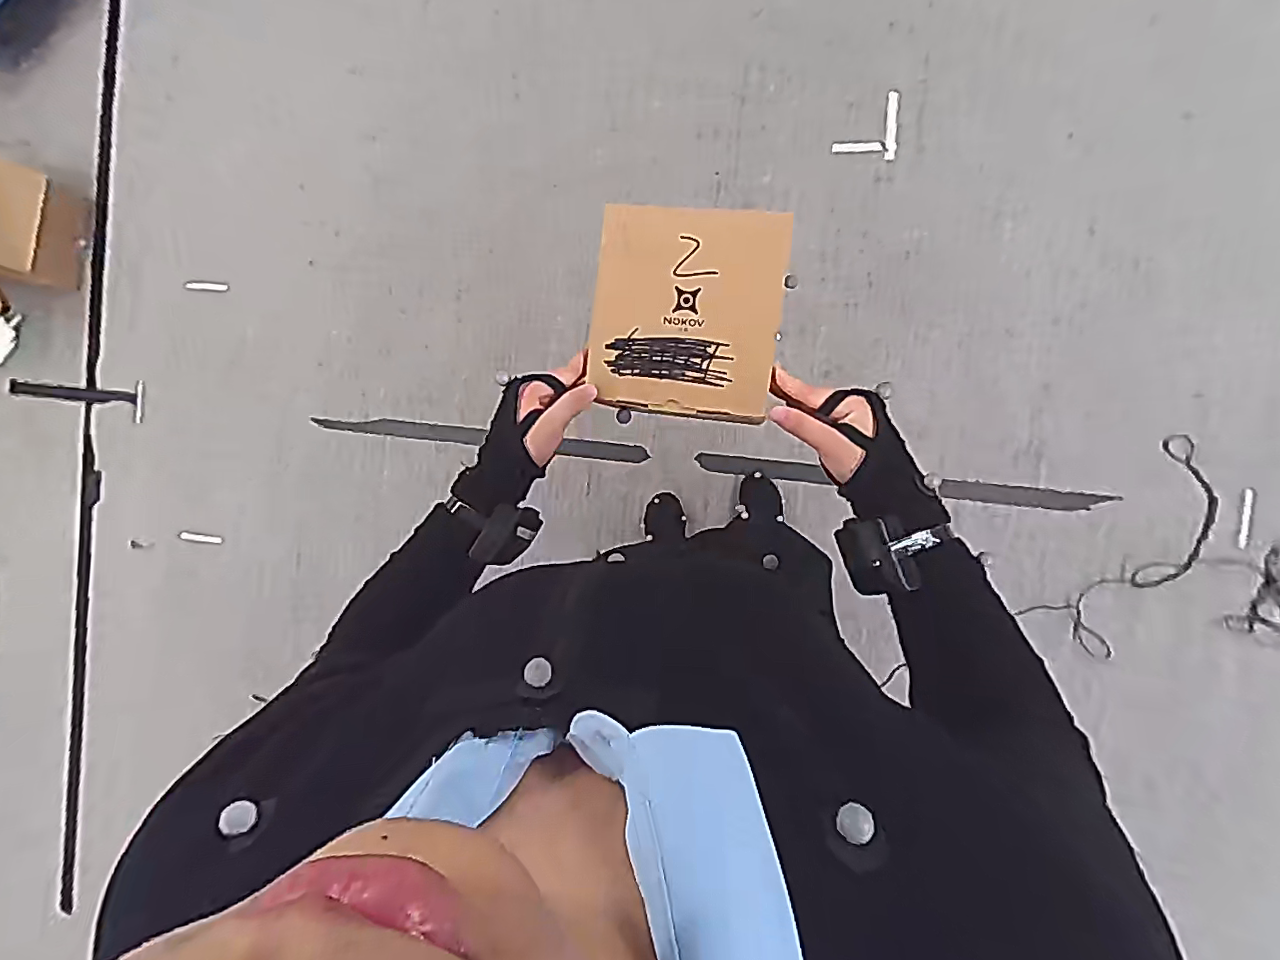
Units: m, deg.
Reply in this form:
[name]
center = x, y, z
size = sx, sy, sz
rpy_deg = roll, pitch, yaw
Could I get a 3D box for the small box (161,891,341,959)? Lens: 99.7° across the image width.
[small box]
center = -0.574, 0.746, 0.781
size = 0.179, 0.176, 0.168
rpy_deg = 8, 93, 8
